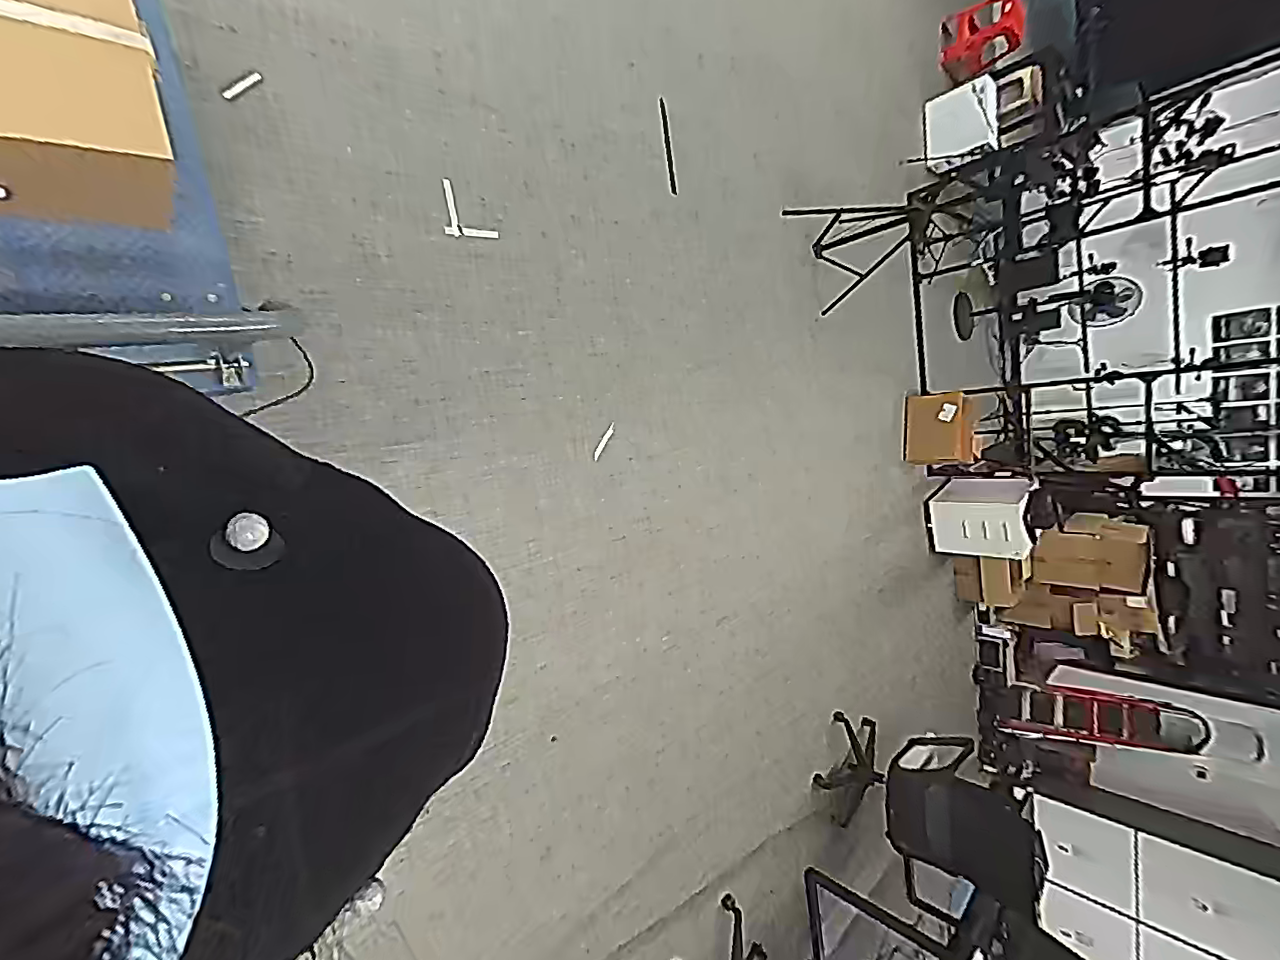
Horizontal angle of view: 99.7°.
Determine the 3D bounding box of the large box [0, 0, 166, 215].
[{"bbox_3d":[-0.978,-0.601,0.769,0.408,0.320,0.320,-16,100,-40],"label":"large box"}]
